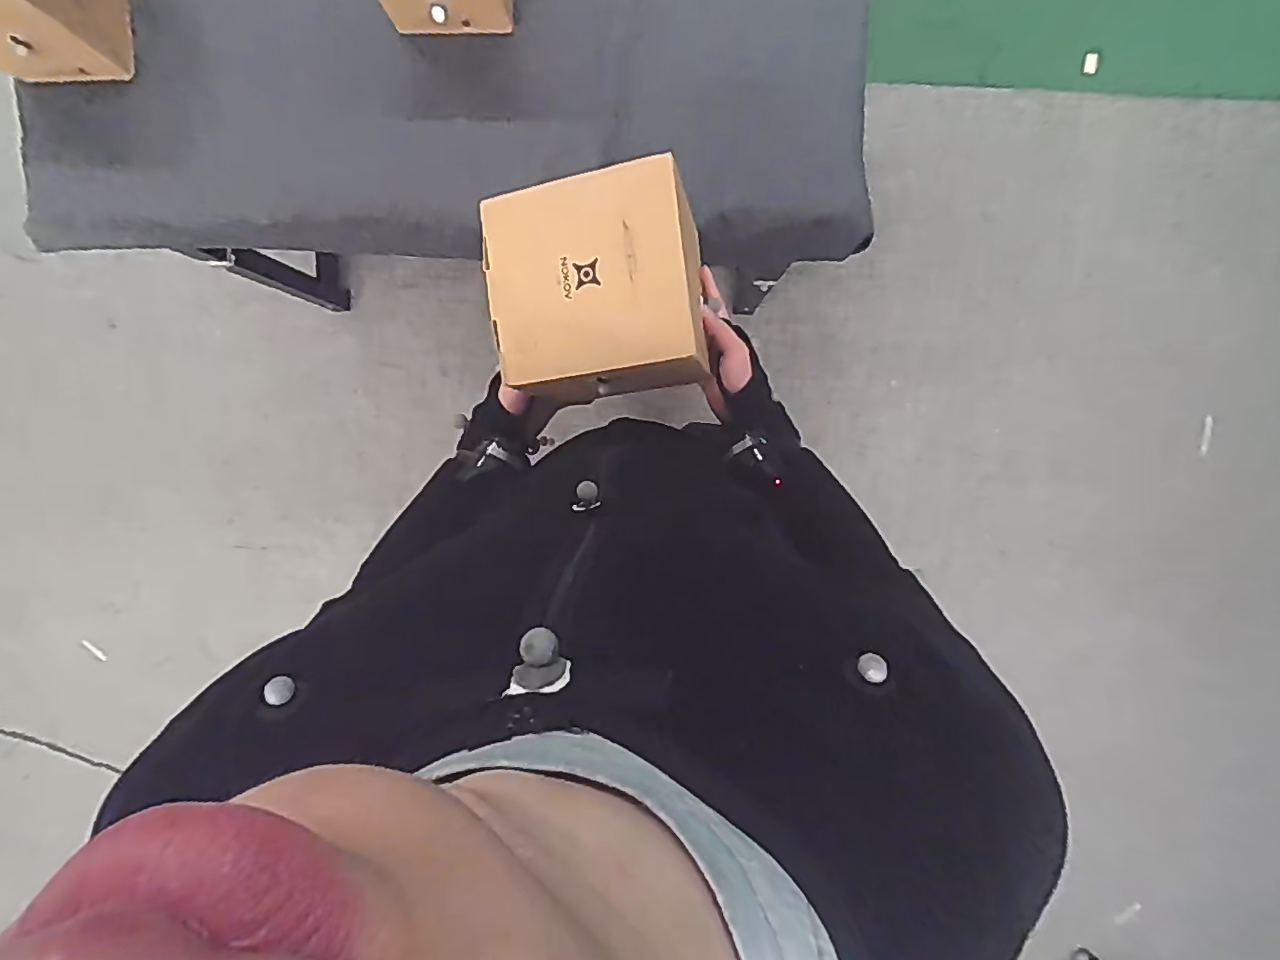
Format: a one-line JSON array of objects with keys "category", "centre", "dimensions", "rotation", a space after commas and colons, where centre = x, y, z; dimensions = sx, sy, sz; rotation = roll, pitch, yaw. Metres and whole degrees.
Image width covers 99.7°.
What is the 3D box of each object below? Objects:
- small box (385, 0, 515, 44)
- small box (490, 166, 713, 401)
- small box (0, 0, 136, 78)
[{"category": "small box", "centre": [-0.259, -0.710, 0.690], "dimensions": [0.168, 0.176, 0.179], "rotation": [1, 96, 1]}, {"category": "small box", "centre": [-0.026, -0.177, 0.547], "dimensions": [0.179, 0.176, 0.168], "rotation": [-7, 92, 12]}, {"category": "small box", "centre": [-0.809, -0.657, 0.699], "dimensions": [0.168, 0.176, 0.179], "rotation": [-1, 95, 0]}]
